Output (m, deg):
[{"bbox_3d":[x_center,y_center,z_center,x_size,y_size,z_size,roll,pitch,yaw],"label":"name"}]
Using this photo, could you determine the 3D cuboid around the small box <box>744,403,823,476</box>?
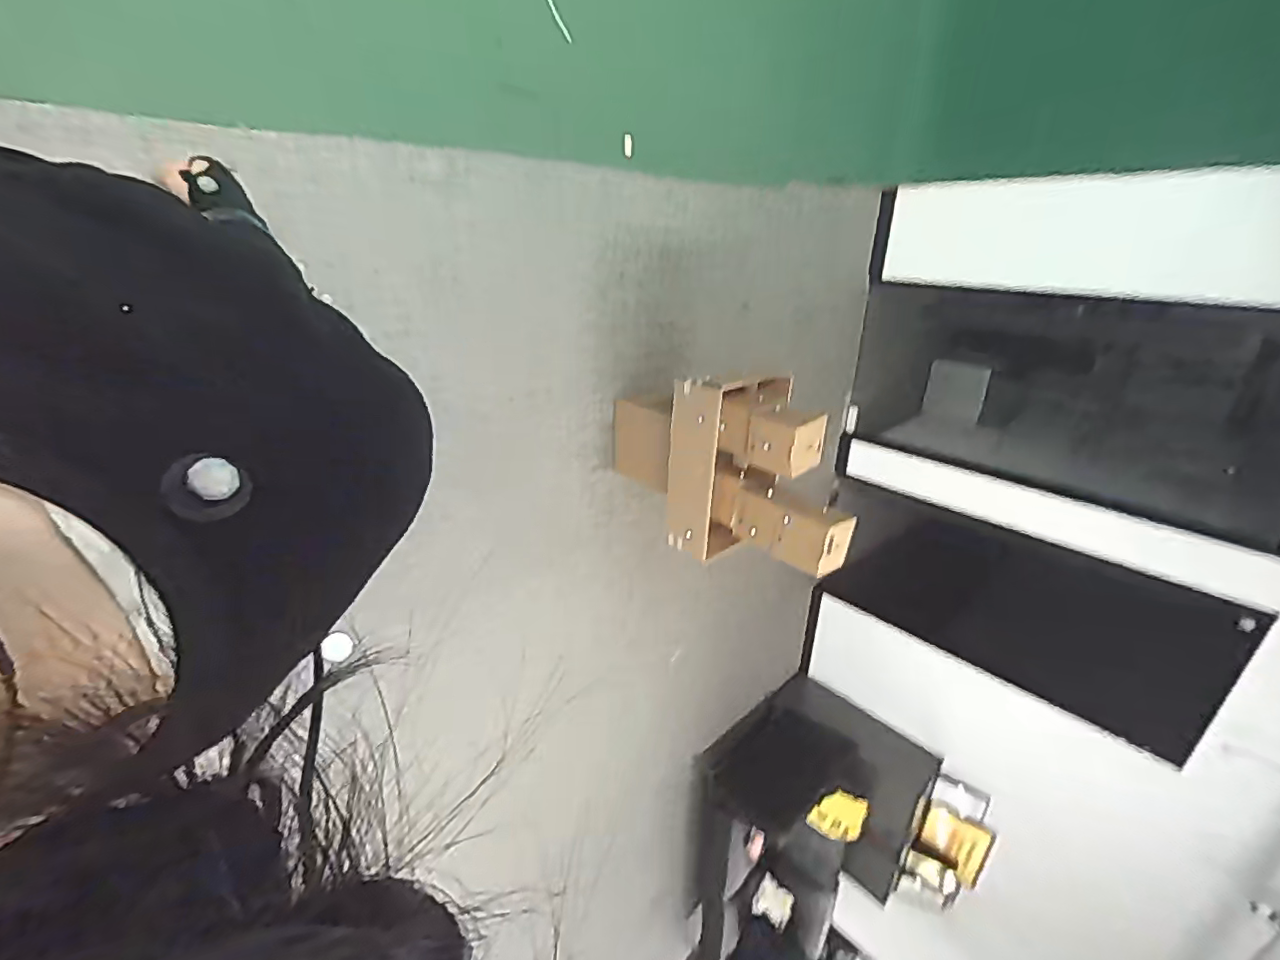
[{"bbox_3d":[0.450,-0.133,1.713,0.179,0.176,0.168,-22,124,-37],"label":"small box"}]

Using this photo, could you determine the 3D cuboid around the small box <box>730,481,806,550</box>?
[{"bbox_3d":[0.425,0.113,1.813,0.179,0.176,0.168,-12,118,-42],"label":"small box"}]

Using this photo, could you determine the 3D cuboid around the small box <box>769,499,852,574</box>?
[{"bbox_3d":[0.533,0.172,1.705,0.179,0.176,0.168,-9,116,-44],"label":"small box"}]

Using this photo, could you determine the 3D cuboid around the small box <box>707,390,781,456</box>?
[{"bbox_3d":[0.349,-0.198,1.826,0.179,0.176,0.168,-22,123,-37],"label":"small box"}]
